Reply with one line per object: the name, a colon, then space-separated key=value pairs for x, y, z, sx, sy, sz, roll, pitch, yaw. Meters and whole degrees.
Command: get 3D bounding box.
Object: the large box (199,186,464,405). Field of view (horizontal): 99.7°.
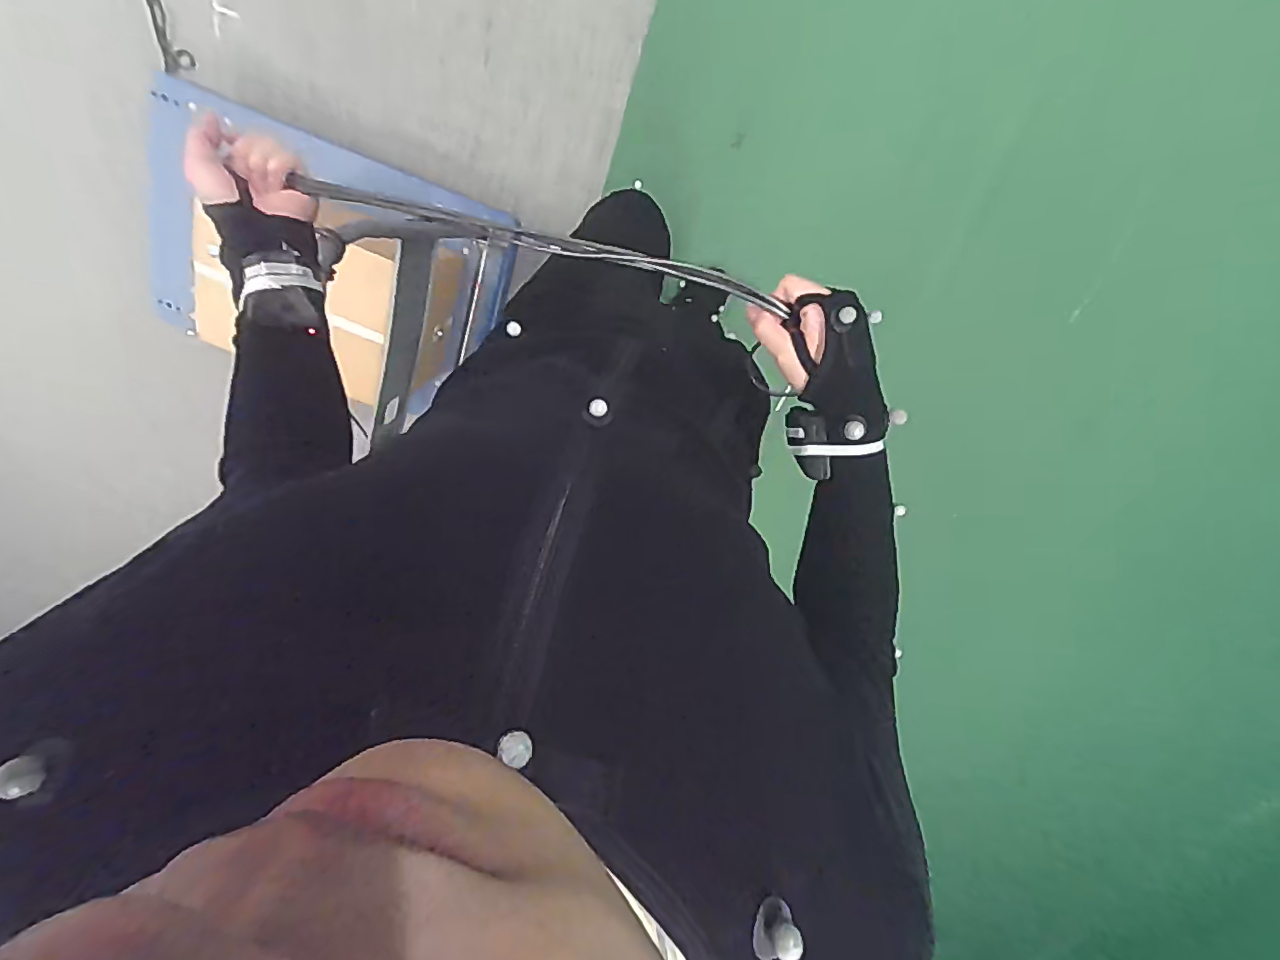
large box: x=-0.663 y=-0.415 z=1.208 sx=0.408 sy=0.320 sz=0.320 roll=21 pitch=115 yaw=-4
